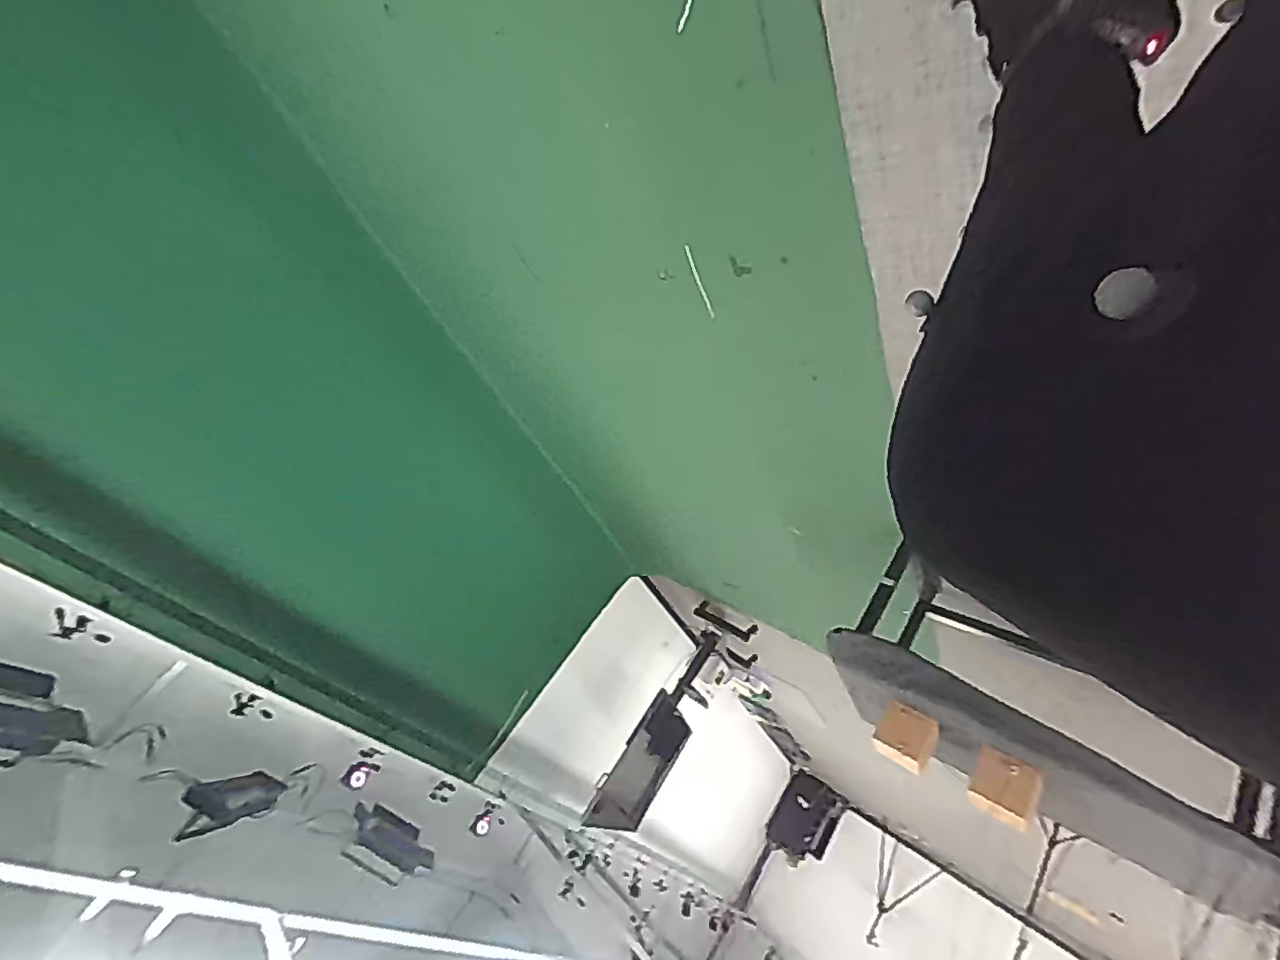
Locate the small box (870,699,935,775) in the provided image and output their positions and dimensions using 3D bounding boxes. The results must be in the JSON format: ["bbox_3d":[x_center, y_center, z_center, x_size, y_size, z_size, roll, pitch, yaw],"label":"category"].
[{"bbox_3d":[0.977,0.947,2.000,0.168,0.176,0.179,18,152,41],"label":"small box"}]

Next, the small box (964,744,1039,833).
[{"bbox_3d":[1.197,1.013,1.783,0.168,0.176,0.179,14,147,46],"label":"small box"}]
